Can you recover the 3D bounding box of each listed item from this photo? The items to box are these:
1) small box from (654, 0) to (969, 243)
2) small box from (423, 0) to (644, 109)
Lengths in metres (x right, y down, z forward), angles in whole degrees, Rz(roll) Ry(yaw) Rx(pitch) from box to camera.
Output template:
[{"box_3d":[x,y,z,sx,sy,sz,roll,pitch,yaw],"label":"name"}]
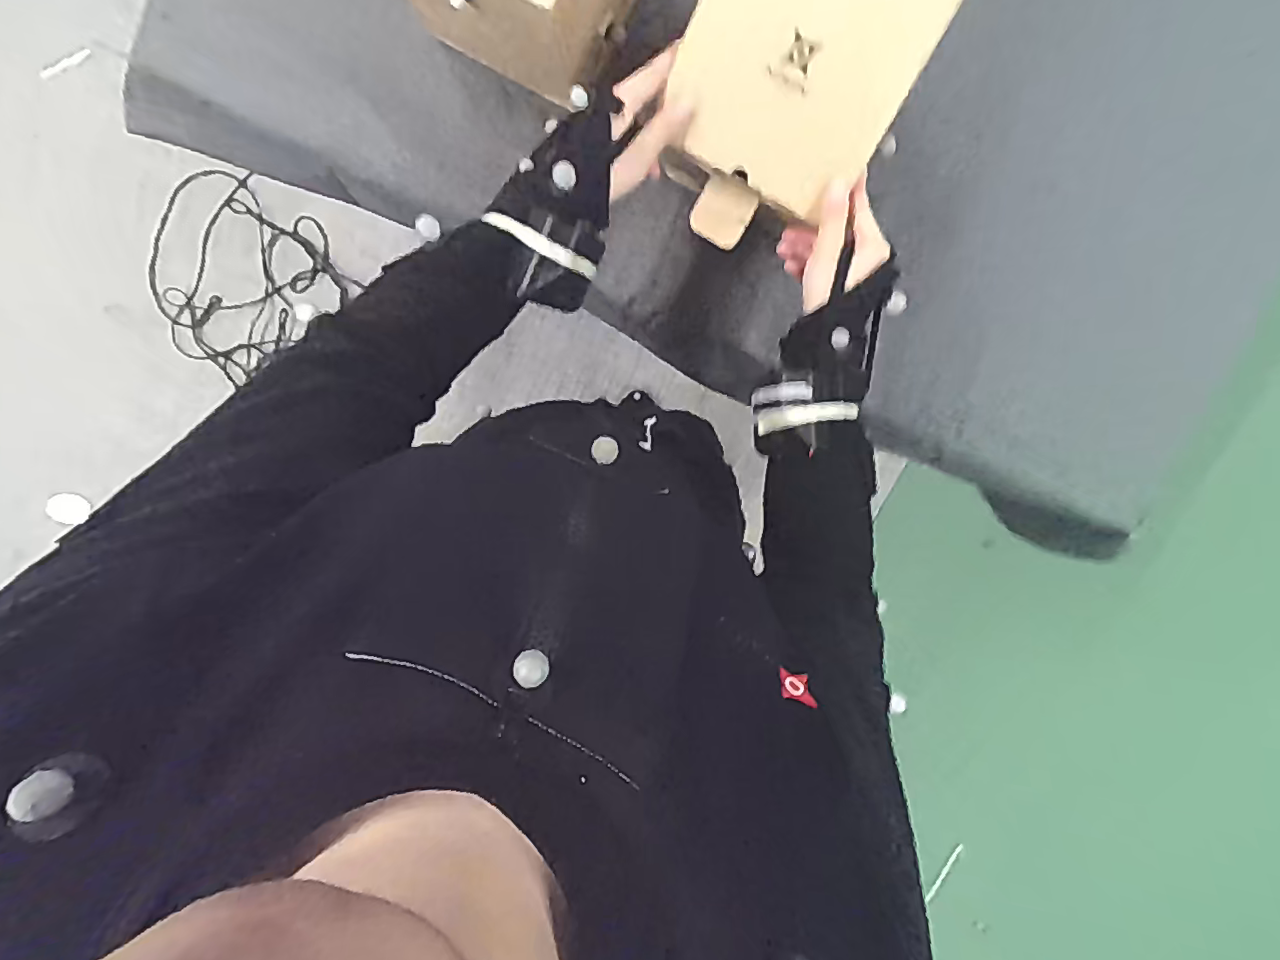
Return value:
[{"box_3d":[0.128,-0.329,0.468,0.168,0.176,0.179,28,113,-2],"label":"small box"},{"box_3d":[-0.099,-0.476,0.474,0.179,0.176,0.168,28,99,-3],"label":"small box"}]
